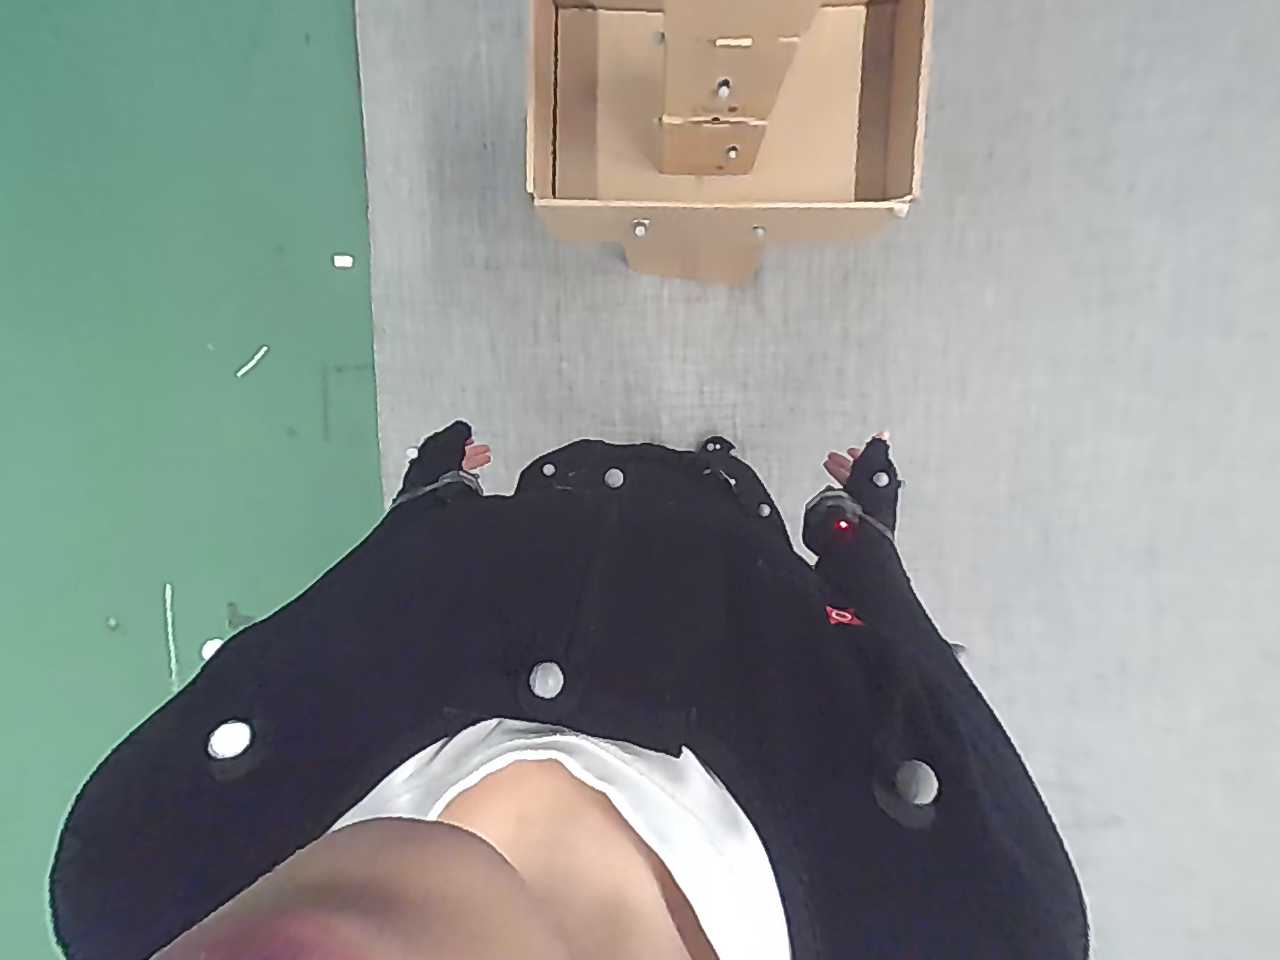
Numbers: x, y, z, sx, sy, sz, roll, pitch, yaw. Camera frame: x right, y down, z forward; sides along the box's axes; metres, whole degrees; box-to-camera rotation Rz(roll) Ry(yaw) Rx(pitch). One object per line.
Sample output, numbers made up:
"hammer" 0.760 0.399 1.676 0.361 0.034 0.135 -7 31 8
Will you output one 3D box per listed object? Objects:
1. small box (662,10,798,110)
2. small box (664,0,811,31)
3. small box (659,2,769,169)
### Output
"small box" 0.116 -0.633 0.730 0.168 0.176 0.179 1 96 1
"small box" 0.114 -0.615 0.565 0.179 0.176 0.168 -1 96 0
"small box" 0.117 -0.640 0.894 0.168 0.176 0.179 1 94 1
